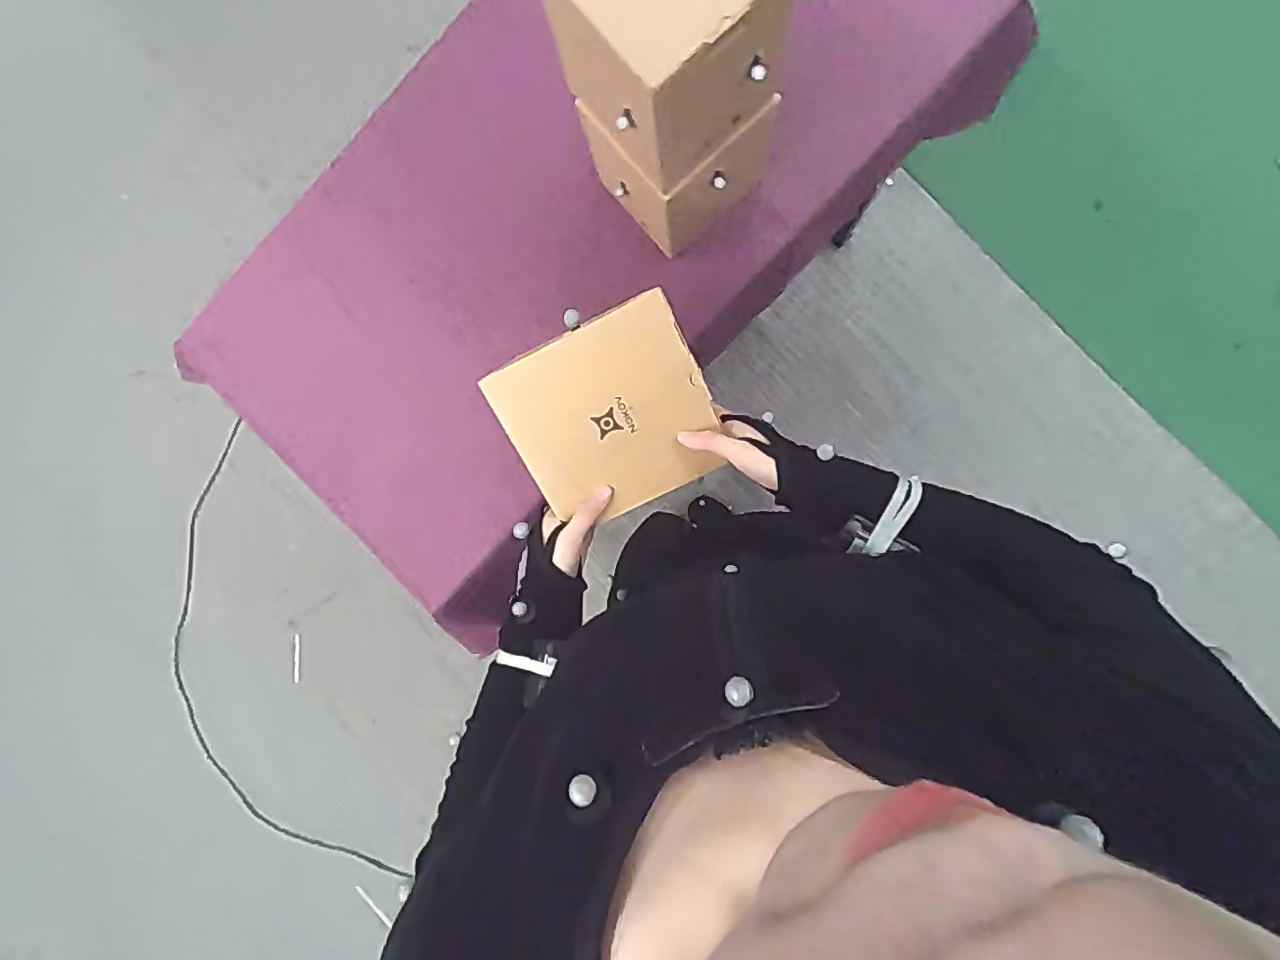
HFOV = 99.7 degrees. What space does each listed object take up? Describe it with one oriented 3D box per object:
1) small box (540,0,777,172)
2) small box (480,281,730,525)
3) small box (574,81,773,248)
[{"bbox_3d":[0.022,-0.448,0.538,0.168,0.176,0.179,-39,85,5],"label":"small box"},{"bbox_3d":[-0.029,-0.084,0.553,0.179,0.176,0.168,-25,106,6],"label":"small box"},{"bbox_3d":[0.047,-0.441,0.699,0.179,0.176,0.168,-40,86,5],"label":"small box"}]
